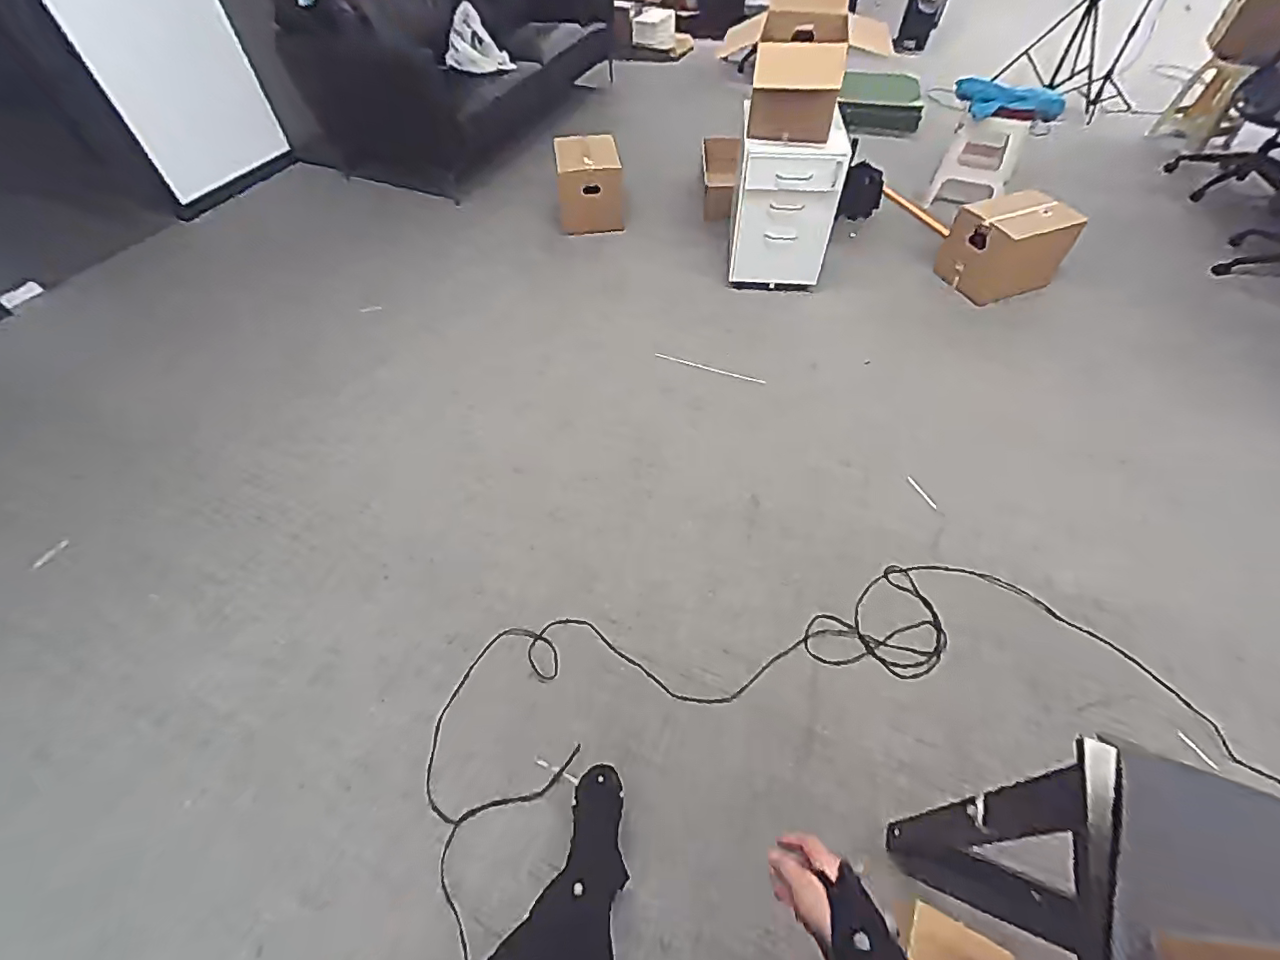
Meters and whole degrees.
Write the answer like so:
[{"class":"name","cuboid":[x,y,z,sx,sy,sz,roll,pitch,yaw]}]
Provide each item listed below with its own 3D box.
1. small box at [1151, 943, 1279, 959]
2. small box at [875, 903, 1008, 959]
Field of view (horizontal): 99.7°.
[{"class":"small box","cuboid":[0.583,0.493,0.429,0.179,0.176,0.168,9,53,7]},{"class":"small box","cuboid":[0.552,0.936,1.011,0.179,0.176,0.168,23,55,17]}]
